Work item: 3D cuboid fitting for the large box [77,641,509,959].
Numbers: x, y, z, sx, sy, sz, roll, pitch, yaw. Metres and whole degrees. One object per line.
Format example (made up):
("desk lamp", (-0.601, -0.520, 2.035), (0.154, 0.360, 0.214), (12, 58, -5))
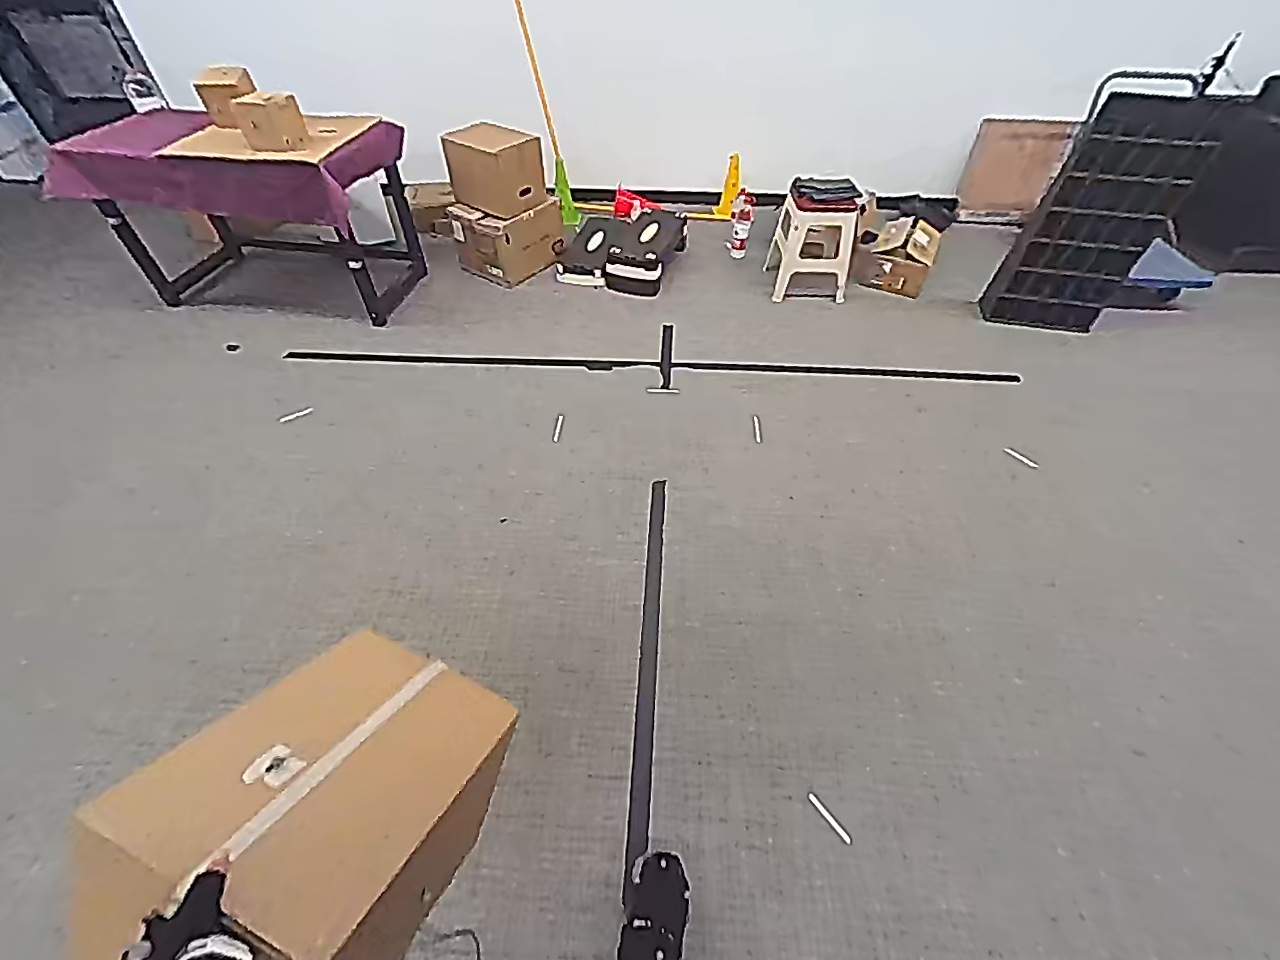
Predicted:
("large box", (-0.447, 0.512, 0.769), (0.320, 0.320, 0.408), (23, 17, 10))
